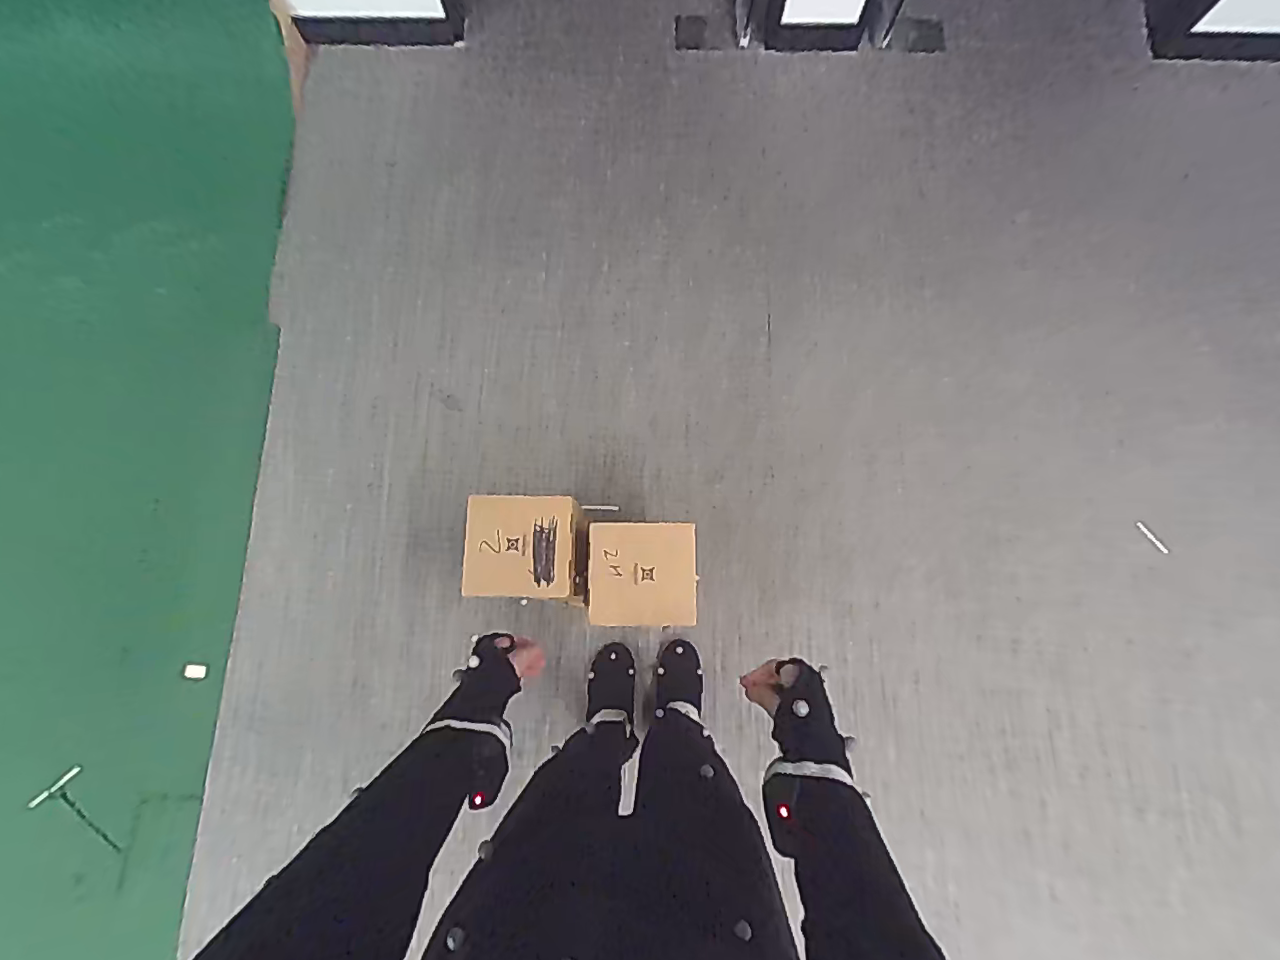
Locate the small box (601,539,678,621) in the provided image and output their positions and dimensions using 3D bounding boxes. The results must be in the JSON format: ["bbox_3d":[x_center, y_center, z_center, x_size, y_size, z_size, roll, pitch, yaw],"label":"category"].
[{"bbox_3d":[-0.001,0.233,1.266,0.168,0.176,0.179,1,80,0],"label":"small box"}]
